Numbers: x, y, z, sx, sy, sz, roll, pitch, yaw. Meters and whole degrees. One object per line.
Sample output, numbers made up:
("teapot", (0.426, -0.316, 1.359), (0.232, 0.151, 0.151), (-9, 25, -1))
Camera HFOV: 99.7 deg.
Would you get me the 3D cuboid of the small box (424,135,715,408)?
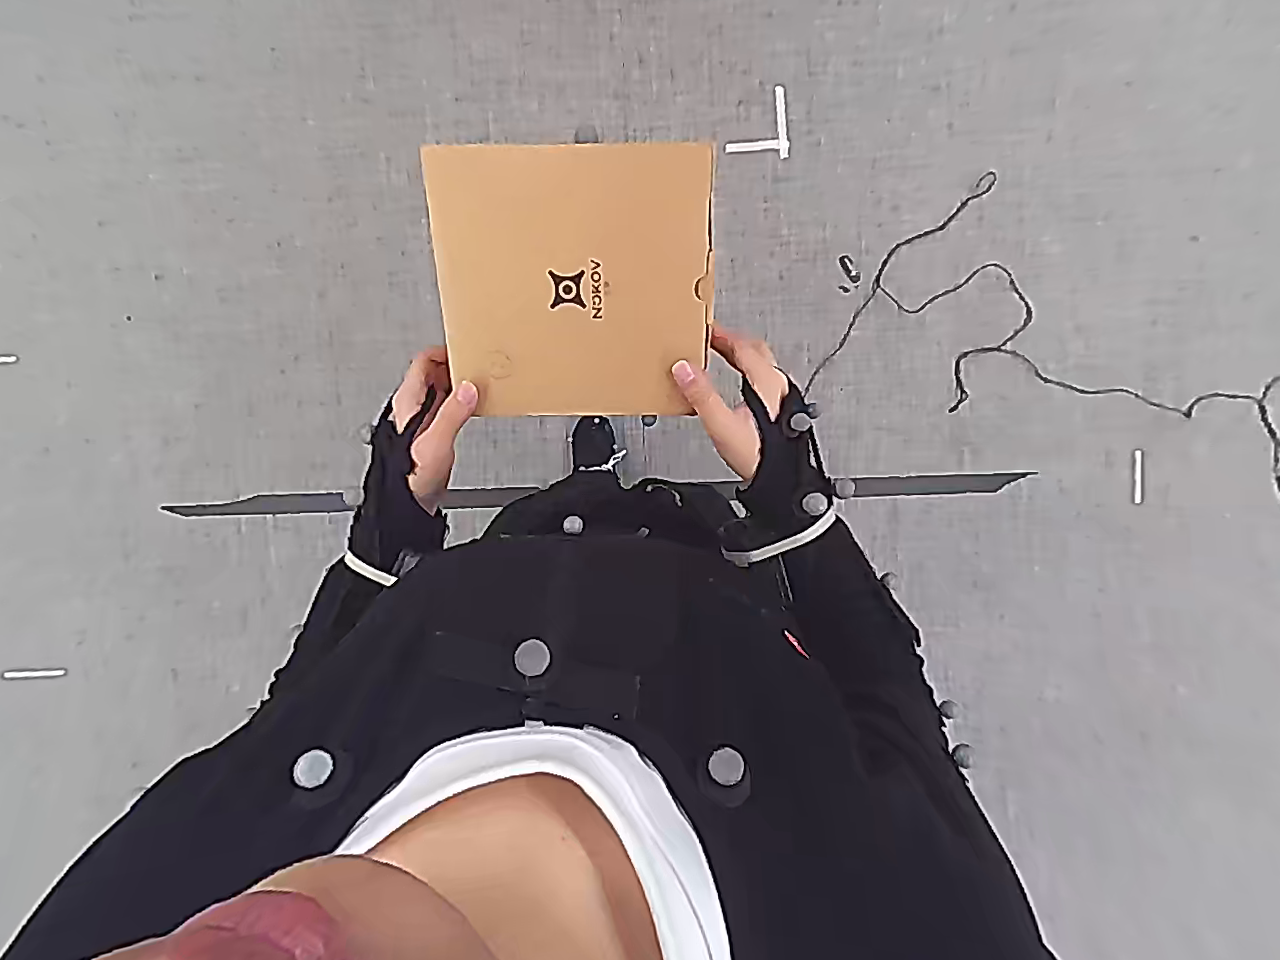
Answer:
("small box", (-0.042, -0.152, 0.420), (0.179, 0.176, 0.168), (-1, 110, -1))
